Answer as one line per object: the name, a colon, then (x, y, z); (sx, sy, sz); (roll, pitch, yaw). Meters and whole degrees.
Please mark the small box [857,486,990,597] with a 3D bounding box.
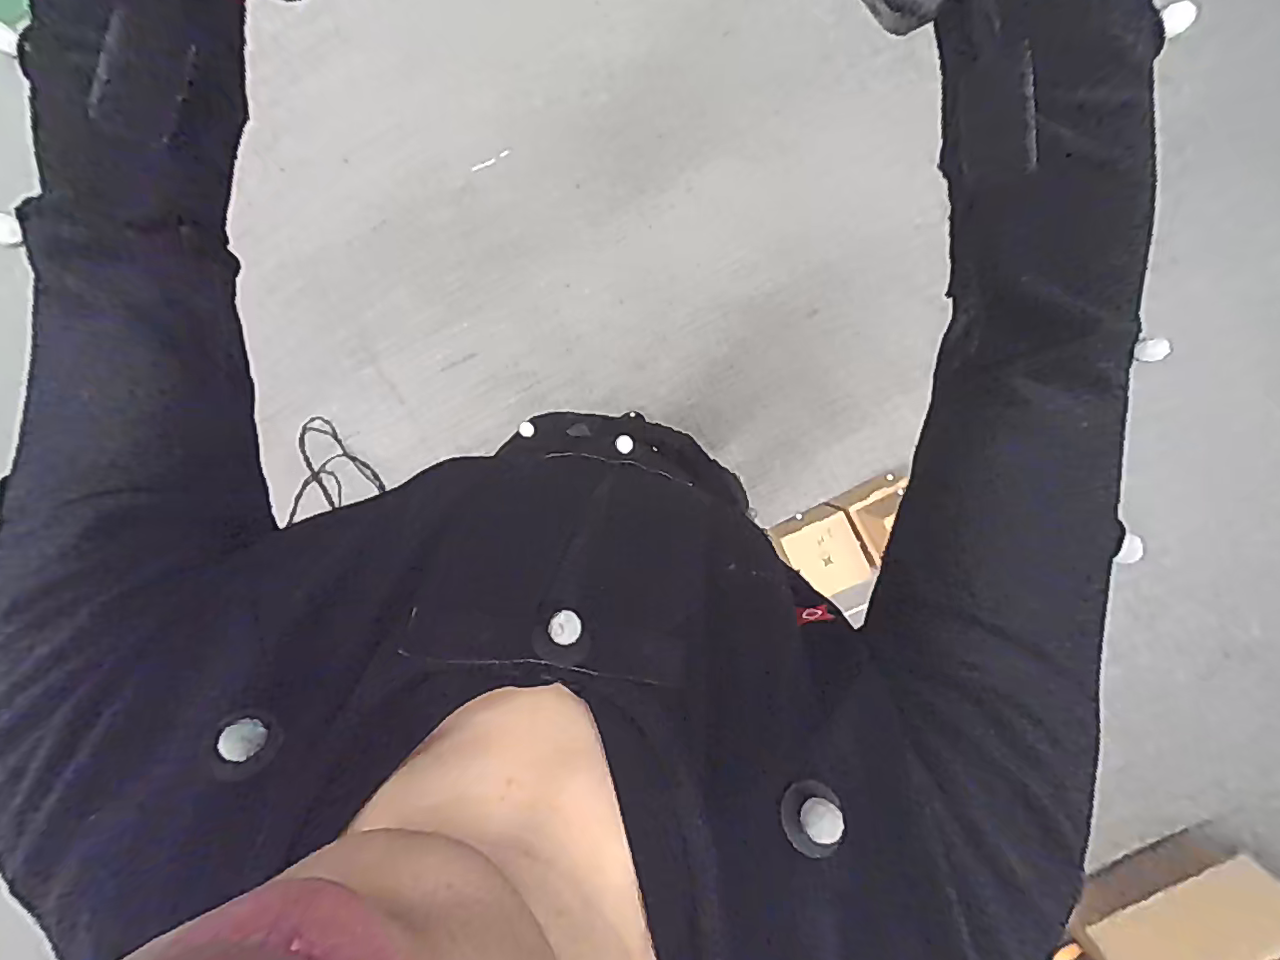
small box: (0.609, 0.126, 1.183); (0.168, 0.176, 0.179); (-27, 91, 4)
